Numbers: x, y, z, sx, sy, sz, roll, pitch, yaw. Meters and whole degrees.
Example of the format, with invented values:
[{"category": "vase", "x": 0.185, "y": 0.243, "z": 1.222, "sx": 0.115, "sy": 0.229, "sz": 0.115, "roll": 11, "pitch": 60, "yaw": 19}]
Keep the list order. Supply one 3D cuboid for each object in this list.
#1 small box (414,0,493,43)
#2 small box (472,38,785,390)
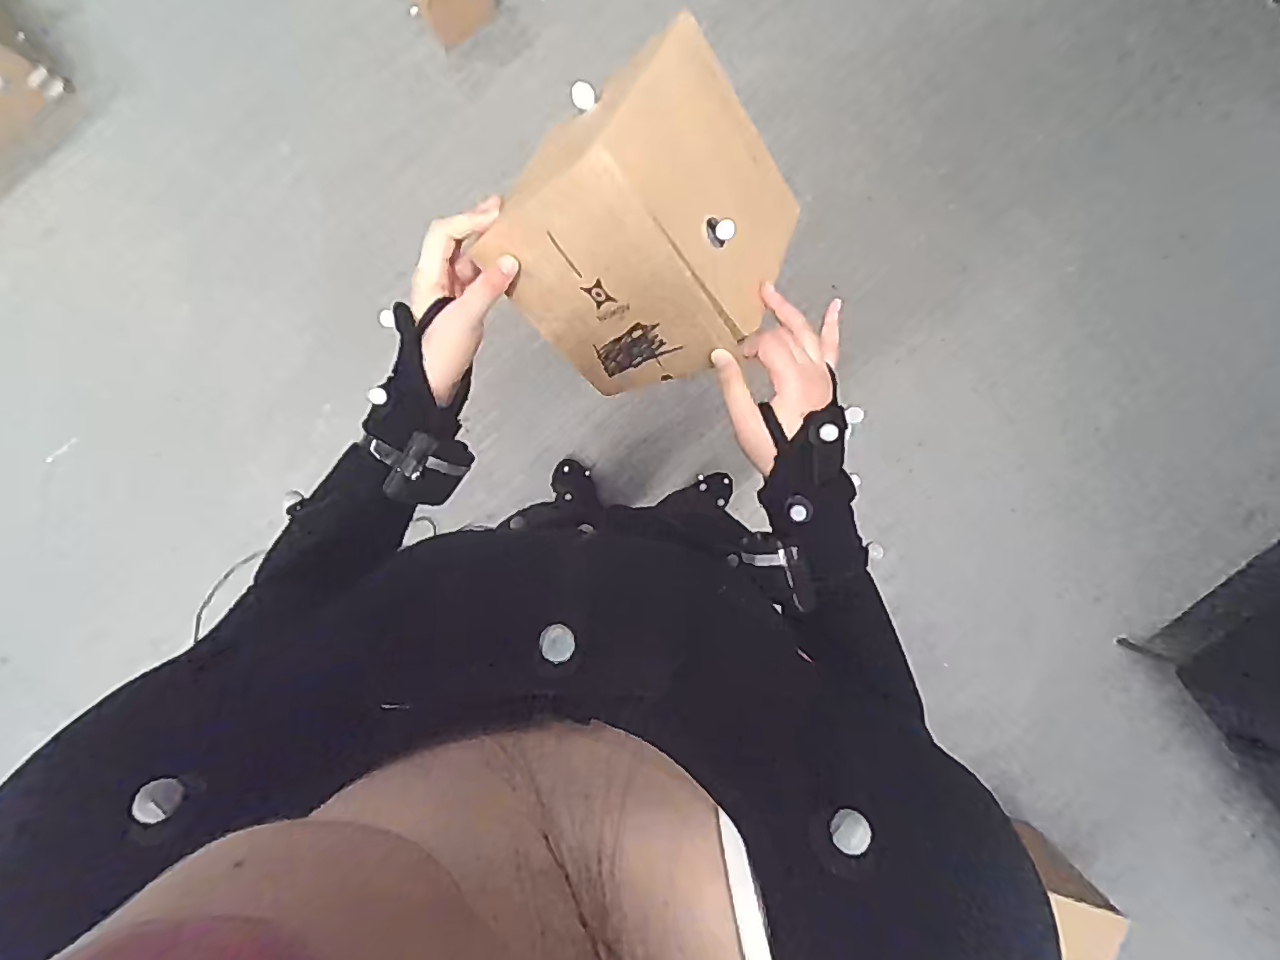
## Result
[{"category": "small box", "x": -0.475, "y": -1.222, "z": 1.300, "sx": 0.179, "sy": 0.176, "sz": 0.168, "roll": -34, "pitch": 94, "yaw": 2}, {"category": "small box", "x": 0.002, "y": -0.208, "z": 0.458, "sx": 0.179, "sy": 0.168, "sz": 0.176, "roll": 43, "pitch": 55, "yaw": -35}]
